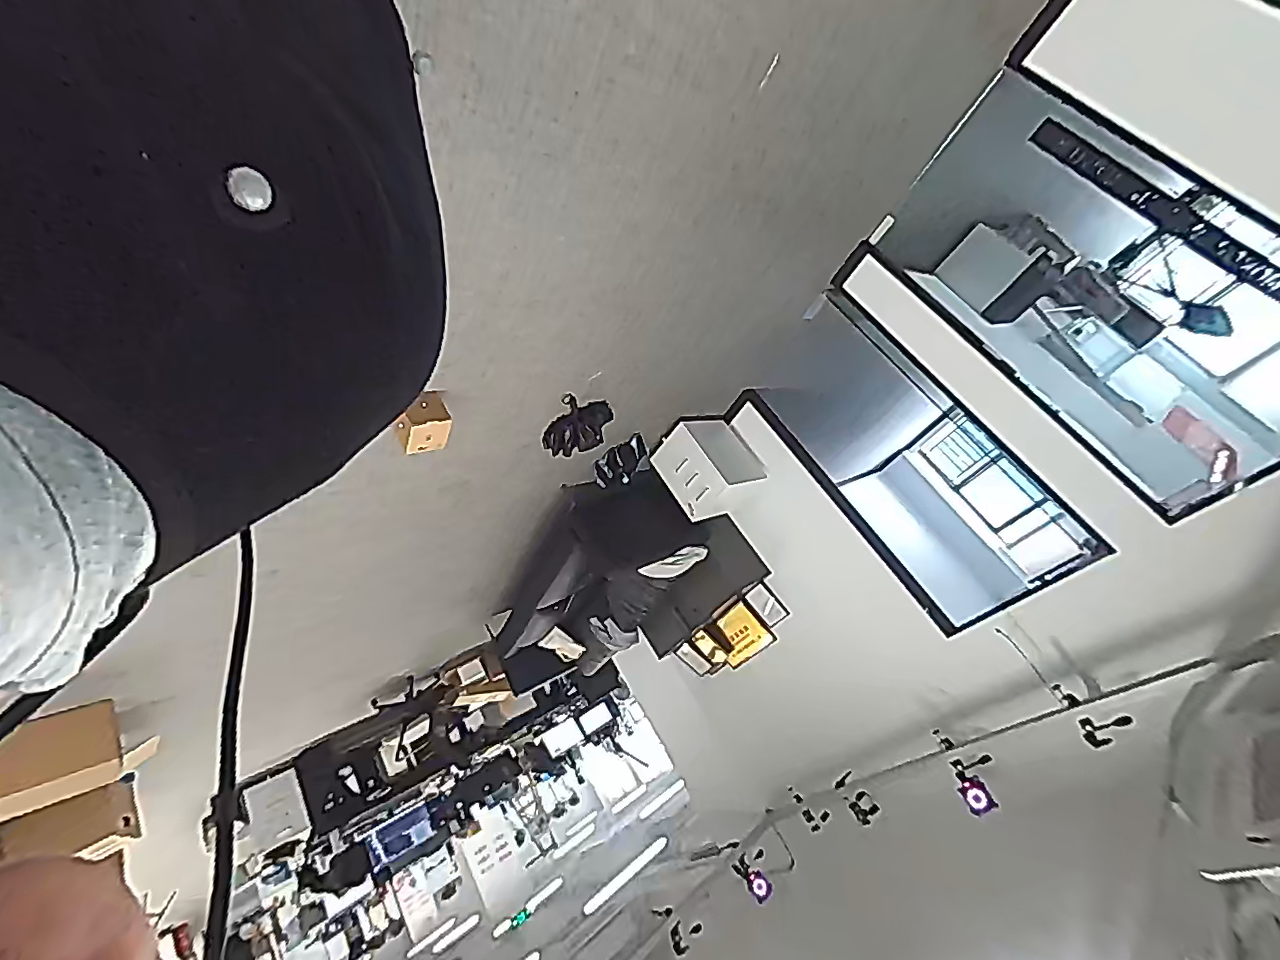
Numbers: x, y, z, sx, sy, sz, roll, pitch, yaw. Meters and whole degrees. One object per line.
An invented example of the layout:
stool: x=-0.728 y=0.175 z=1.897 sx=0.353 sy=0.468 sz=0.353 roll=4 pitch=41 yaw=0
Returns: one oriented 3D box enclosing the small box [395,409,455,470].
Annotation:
small box: x=-0.870 y=-0.173 z=2.179 sx=0.168 sy=0.176 sz=0.179 roll=-17 pitch=150 yaw=-40
